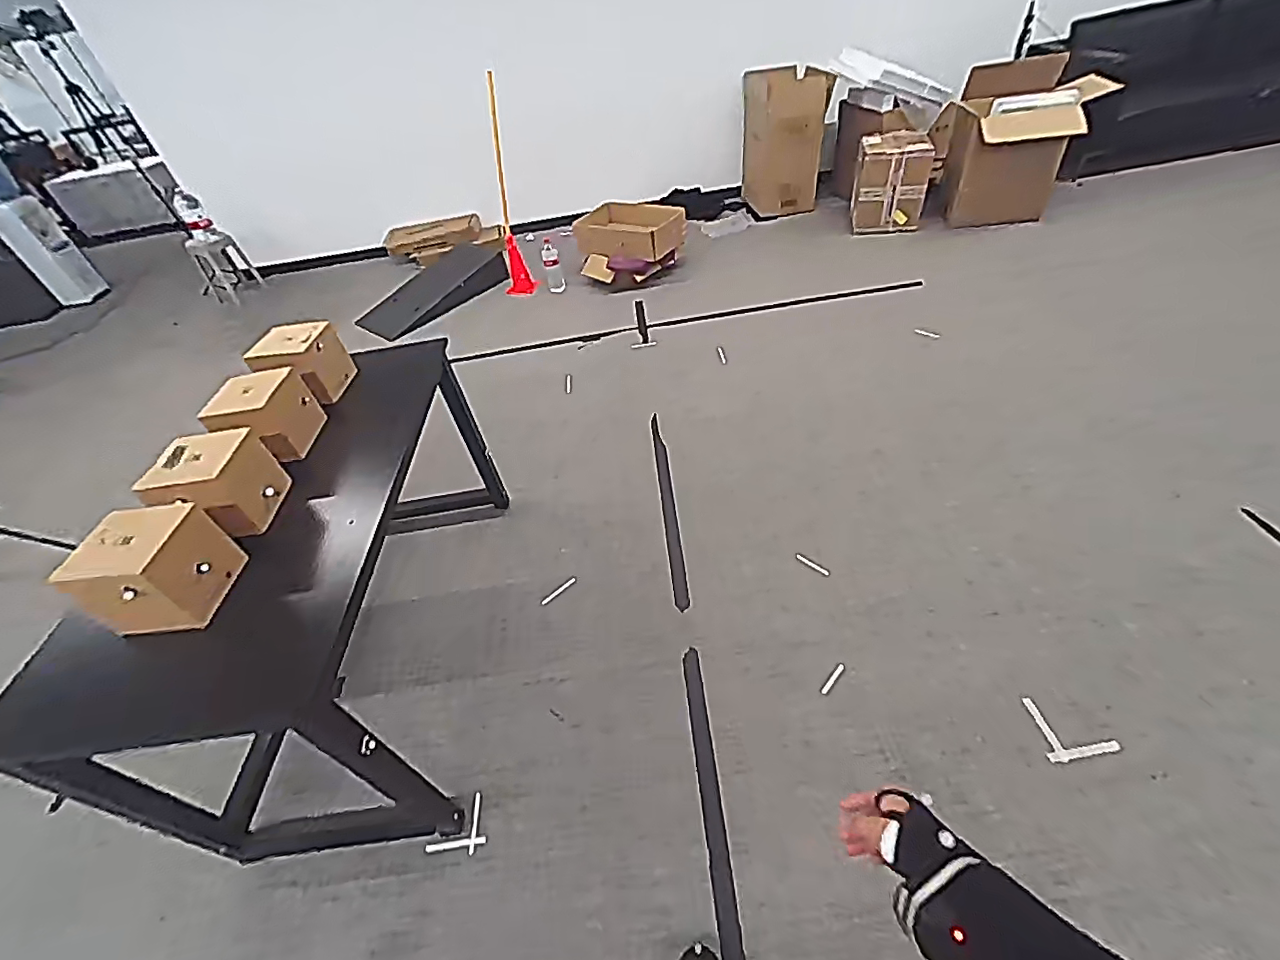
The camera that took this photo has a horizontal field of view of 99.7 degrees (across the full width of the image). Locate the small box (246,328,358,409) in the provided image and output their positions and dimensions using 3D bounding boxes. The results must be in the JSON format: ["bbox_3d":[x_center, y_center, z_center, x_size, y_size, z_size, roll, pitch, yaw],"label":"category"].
[{"bbox_3d":[-0.950,-0.309,1.538,0.179,0.176,0.168,-6,44,7],"label":"small box"}]

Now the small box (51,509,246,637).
[{"bbox_3d":[-0.901,0.178,1.017,0.179,0.176,0.168,-7,43,4],"label":"small box"}]

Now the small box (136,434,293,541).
[{"bbox_3d":[-0.912,0.024,1.180,0.179,0.176,0.168,-9,43,0],"label":"small box"}]

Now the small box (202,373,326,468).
[{"bbox_3d":[-0.933,-0.143,1.364,0.168,0.176,0.179,-10,44,3],"label":"small box"}]
